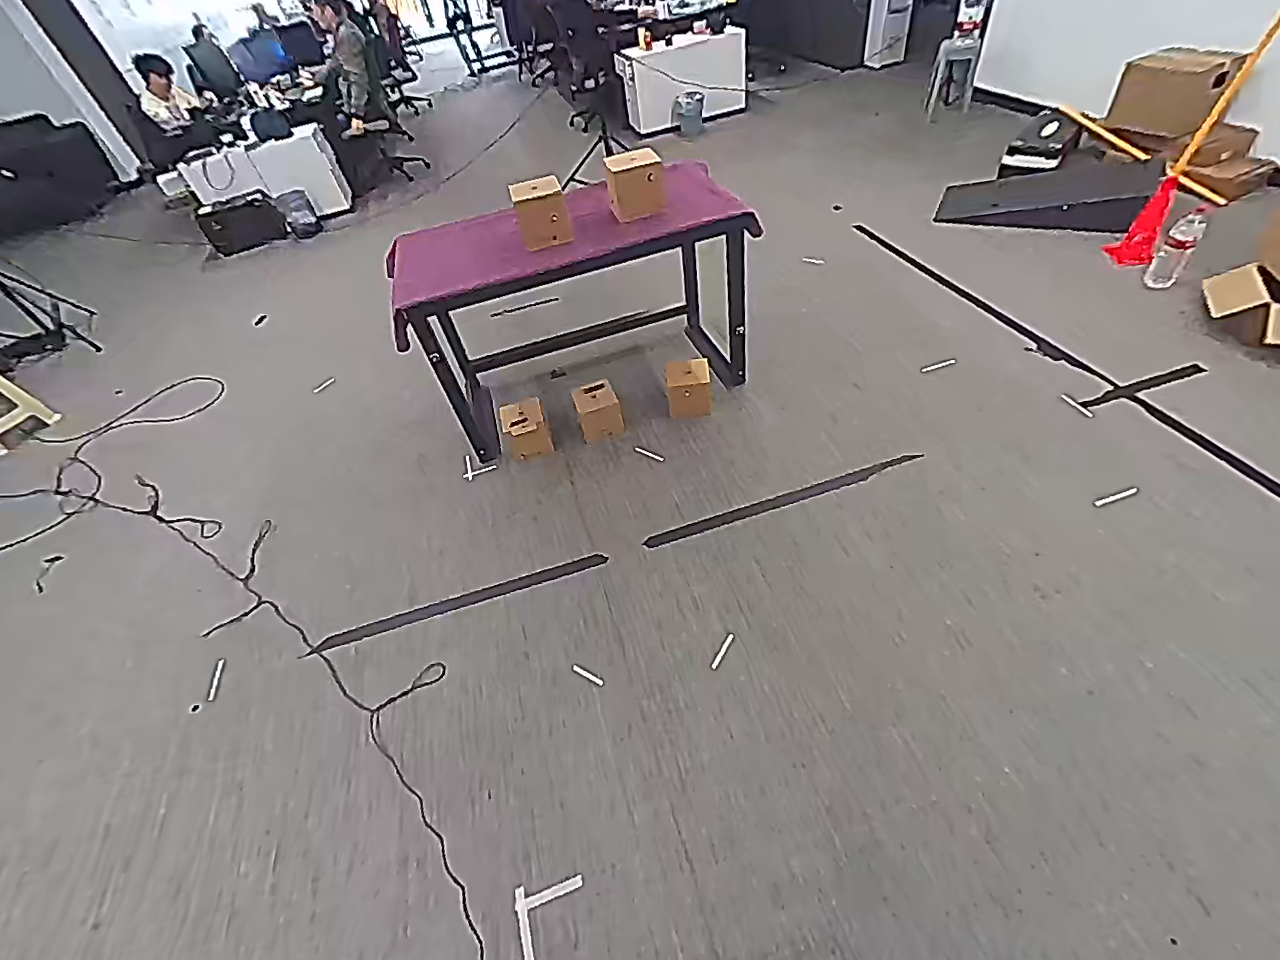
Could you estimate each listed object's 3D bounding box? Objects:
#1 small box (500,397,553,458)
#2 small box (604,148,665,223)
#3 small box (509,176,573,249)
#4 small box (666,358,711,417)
[{"bbox_3d":[-0.464,-0.208,2.225,0.168,0.176,0.179,-17,46,-5],"label":"small box"},{"bbox_3d":[-0.014,-1.030,1.893,0.179,0.176,0.168,-17,46,-4],"label":"small box"},{"bbox_3d":[-0.336,-0.905,1.843,0.168,0.176,0.179,-16,45,-5],"label":"small box"},{"bbox_3d":[0.204,-0.384,2.260,0.179,0.176,0.168,-6,48,7],"label":"small box"}]
